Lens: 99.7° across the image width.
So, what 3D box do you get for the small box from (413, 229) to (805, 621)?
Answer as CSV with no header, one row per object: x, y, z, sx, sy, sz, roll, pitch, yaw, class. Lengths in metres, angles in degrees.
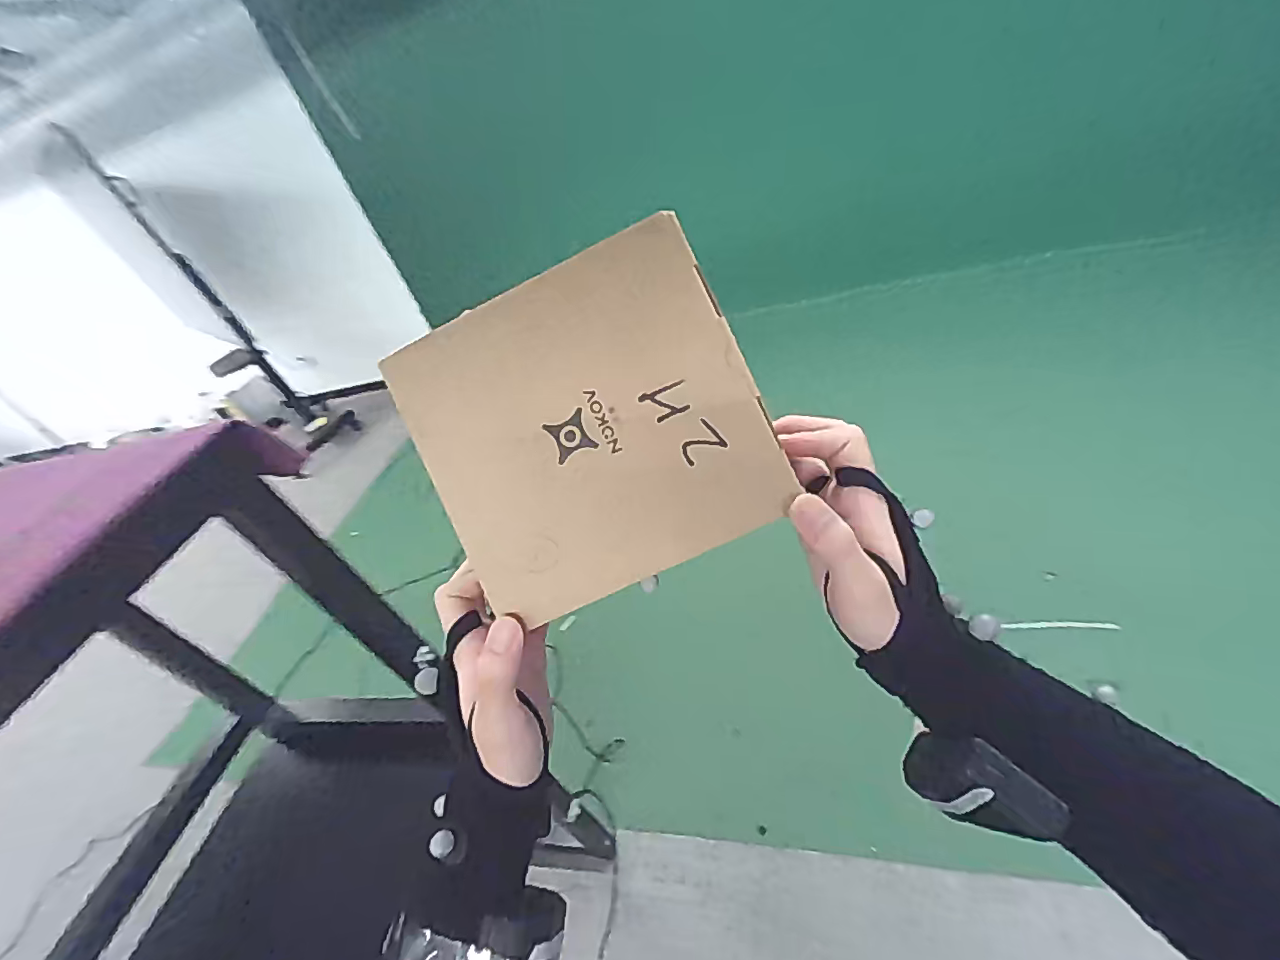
-0.012,-0.027,0.374,0.179,0.168,0.176,-24,-2,6,small box
